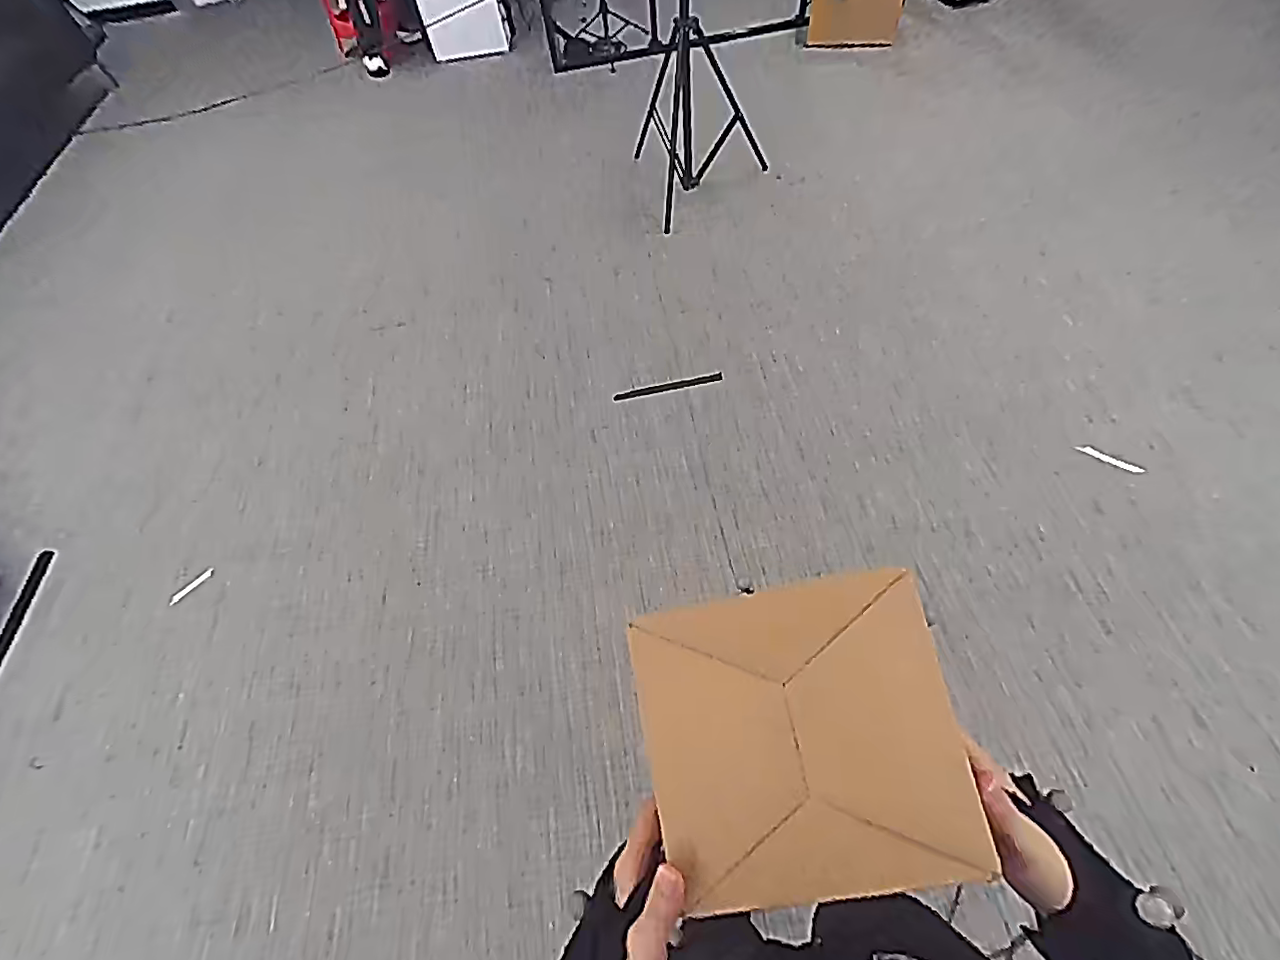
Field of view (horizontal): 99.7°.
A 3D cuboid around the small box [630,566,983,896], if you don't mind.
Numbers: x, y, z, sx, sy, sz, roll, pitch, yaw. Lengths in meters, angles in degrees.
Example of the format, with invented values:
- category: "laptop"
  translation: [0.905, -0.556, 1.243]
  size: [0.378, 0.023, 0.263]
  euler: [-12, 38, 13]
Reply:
- category: "small box"
  translation: [0.104, 0.159, 0.388]
  size: [0.179, 0.176, 0.168]
  euler: [-13, 77, 7]
